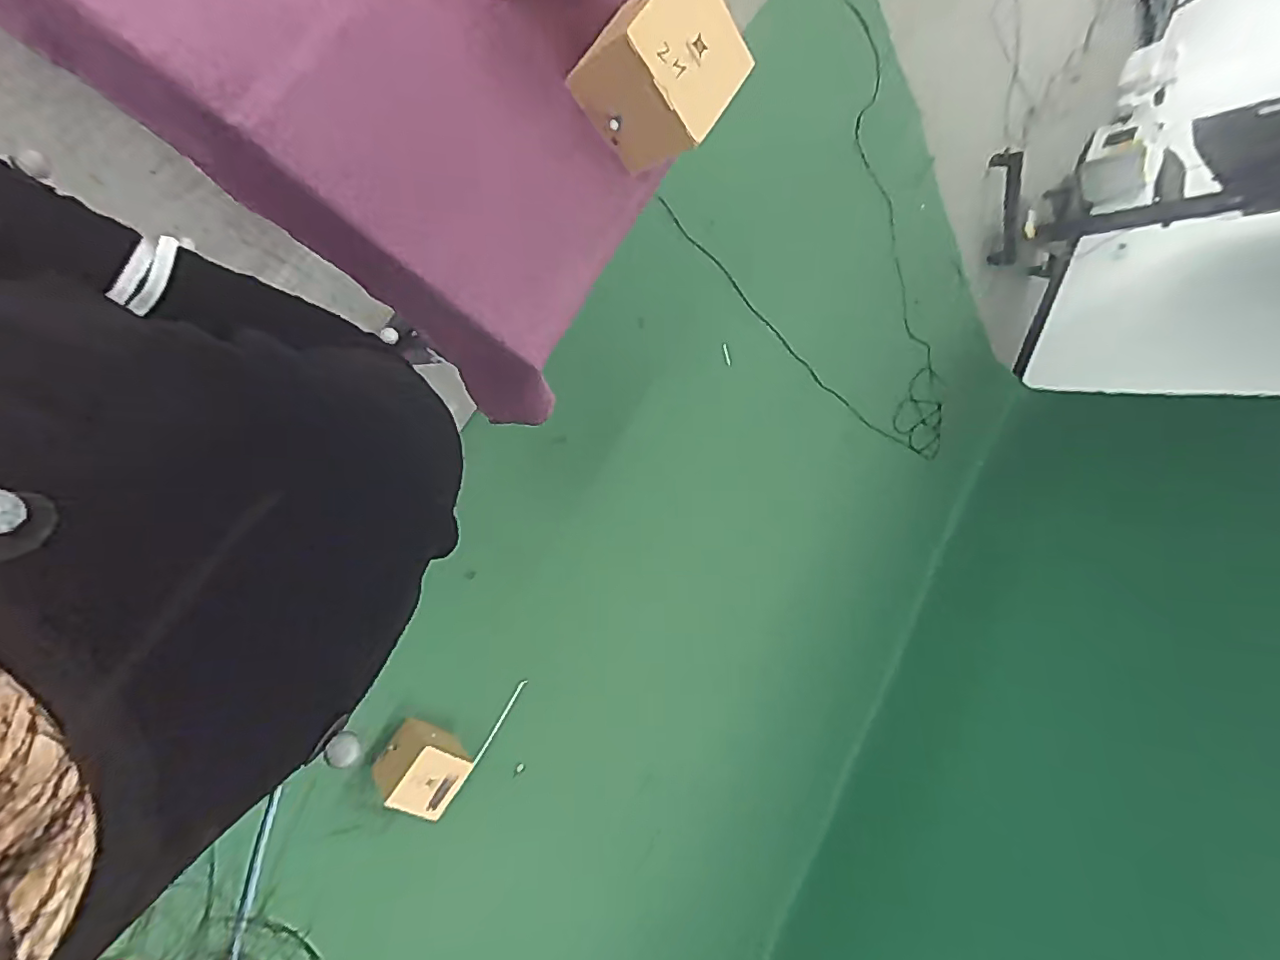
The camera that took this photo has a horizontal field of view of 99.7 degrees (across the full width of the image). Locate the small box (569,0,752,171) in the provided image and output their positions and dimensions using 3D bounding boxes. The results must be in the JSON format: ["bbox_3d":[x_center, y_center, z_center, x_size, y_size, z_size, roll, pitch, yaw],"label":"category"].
[{"bbox_3d":[0.026,-0.602,0.796,0.168,0.176,0.179,40,77,-35],"label":"small box"}]
